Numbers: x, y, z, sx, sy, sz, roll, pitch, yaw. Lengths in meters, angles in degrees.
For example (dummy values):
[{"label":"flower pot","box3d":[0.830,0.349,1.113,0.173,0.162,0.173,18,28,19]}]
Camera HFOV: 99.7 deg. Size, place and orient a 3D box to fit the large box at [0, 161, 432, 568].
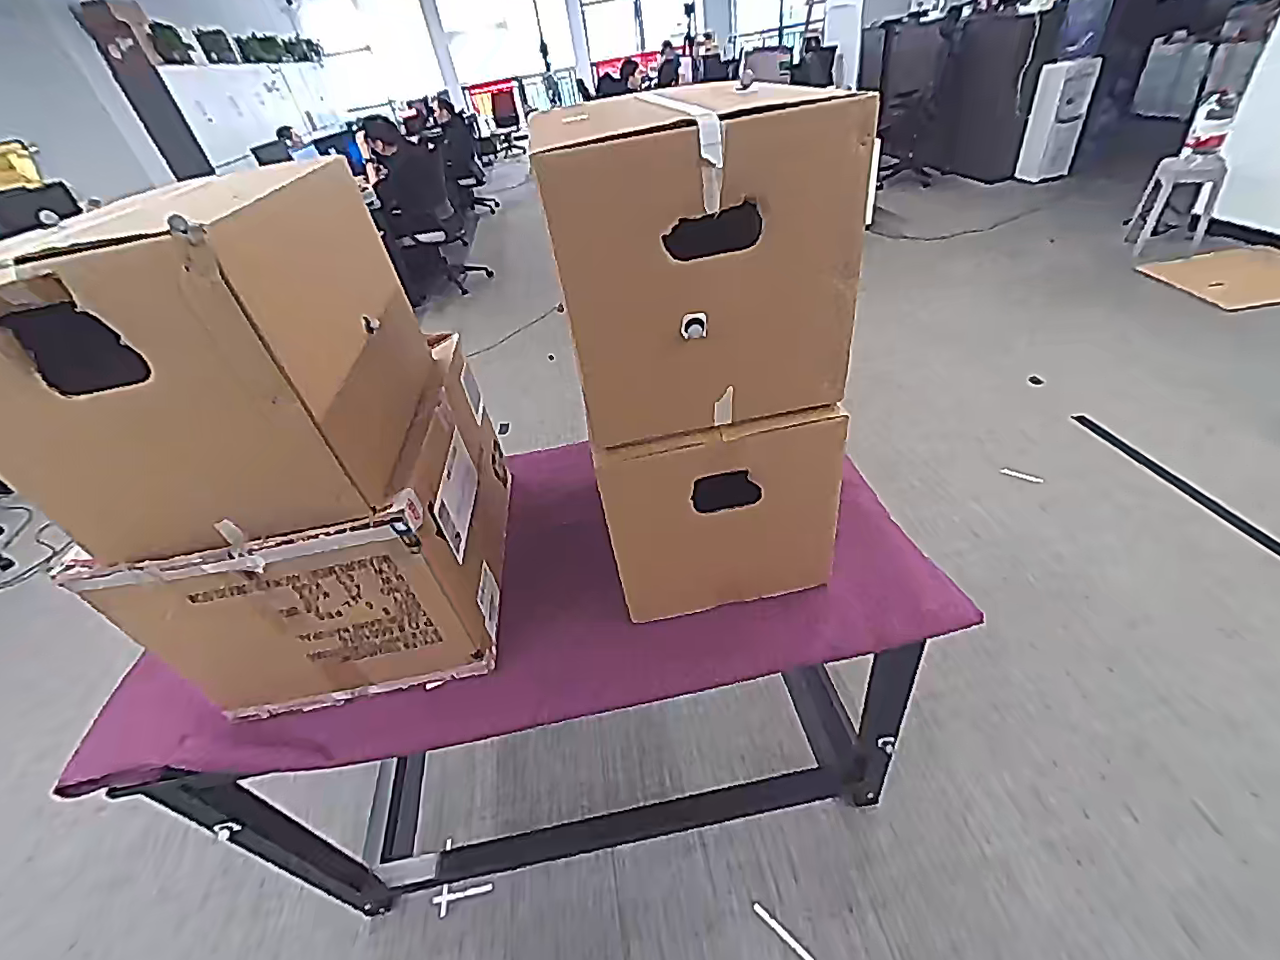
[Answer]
[{"label":"large box","box3d":[-0.483,-0.164,0.666,0.320,0.320,0.408,-13,39,-1]}]
